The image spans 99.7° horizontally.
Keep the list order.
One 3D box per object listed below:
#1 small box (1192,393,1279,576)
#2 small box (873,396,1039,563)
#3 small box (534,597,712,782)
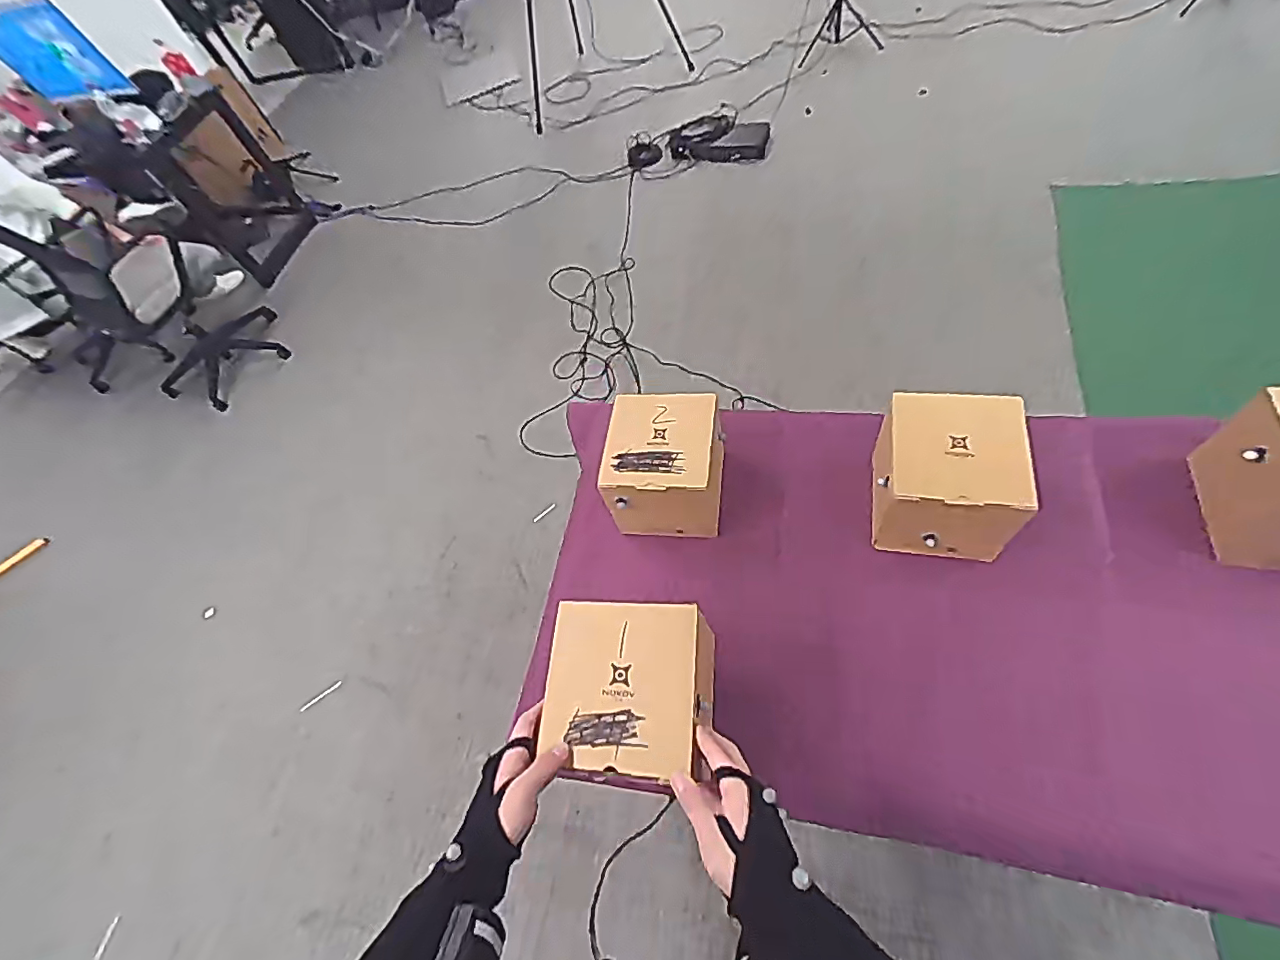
[{"bbox_3d":[0.854,0.013,0.676,0.168,0.176,0.179,5,61,18],"label":"small box"},{"bbox_3d":[0.440,0.001,0.784,0.168,0.176,0.179,5,62,15],"label":"small box"},{"bbox_3d":[-0.006,0.250,0.645,0.168,0.176,0.179,-1,62,14],"label":"small box"}]
